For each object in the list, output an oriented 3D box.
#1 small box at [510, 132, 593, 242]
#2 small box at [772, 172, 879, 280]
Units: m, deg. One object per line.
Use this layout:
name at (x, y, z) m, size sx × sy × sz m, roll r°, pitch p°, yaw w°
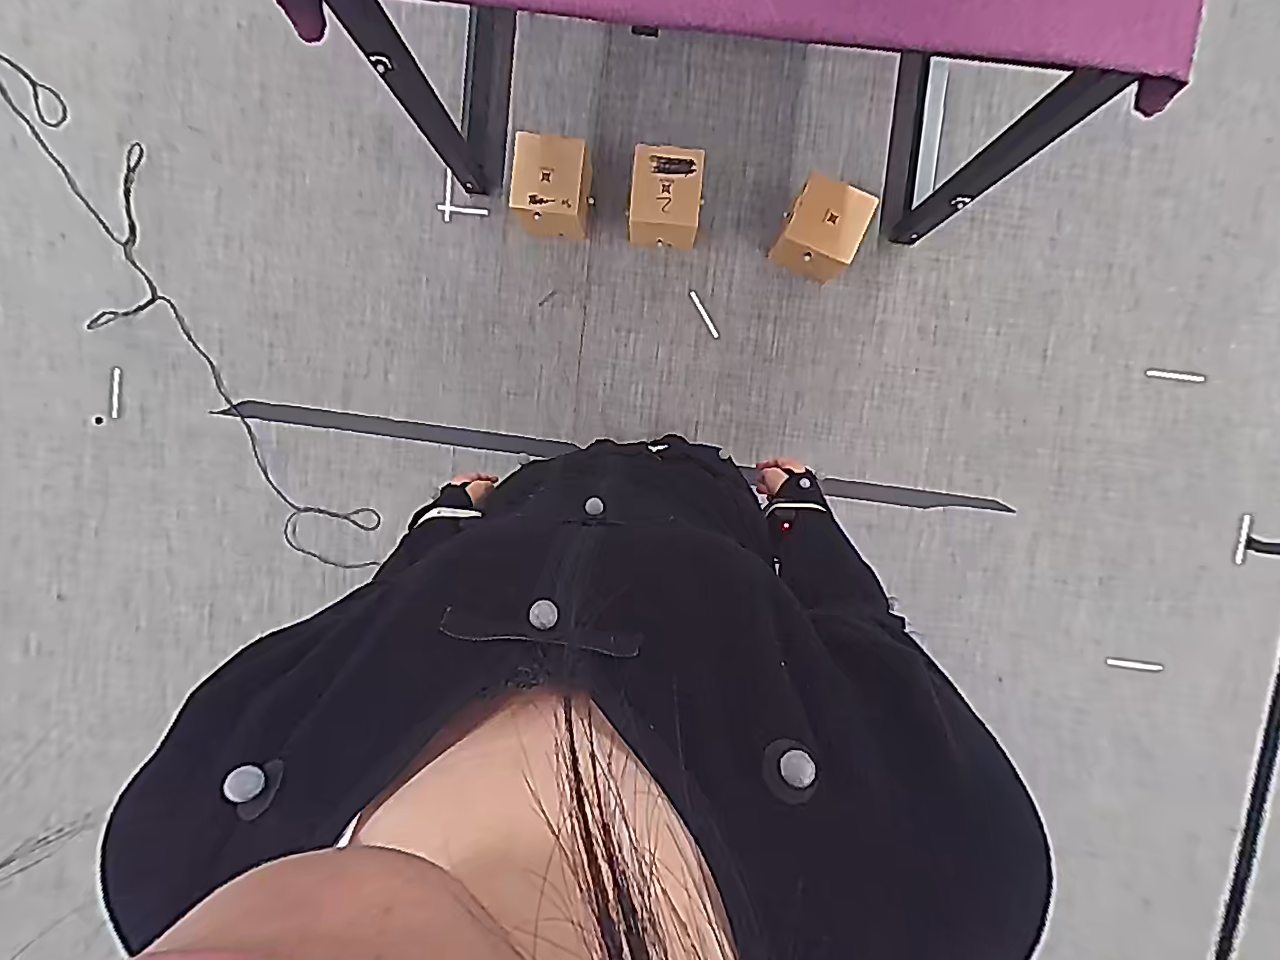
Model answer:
small box at (-0.214, -0.723, 1.348) m, size 0.168 × 0.176 × 0.179 m, roll 8°, pitch 93°, yaw 0°
small box at (0.453, -0.621, 1.348) m, size 0.179 × 0.176 × 0.168 m, roll 24°, pitch 95°, yaw 0°
